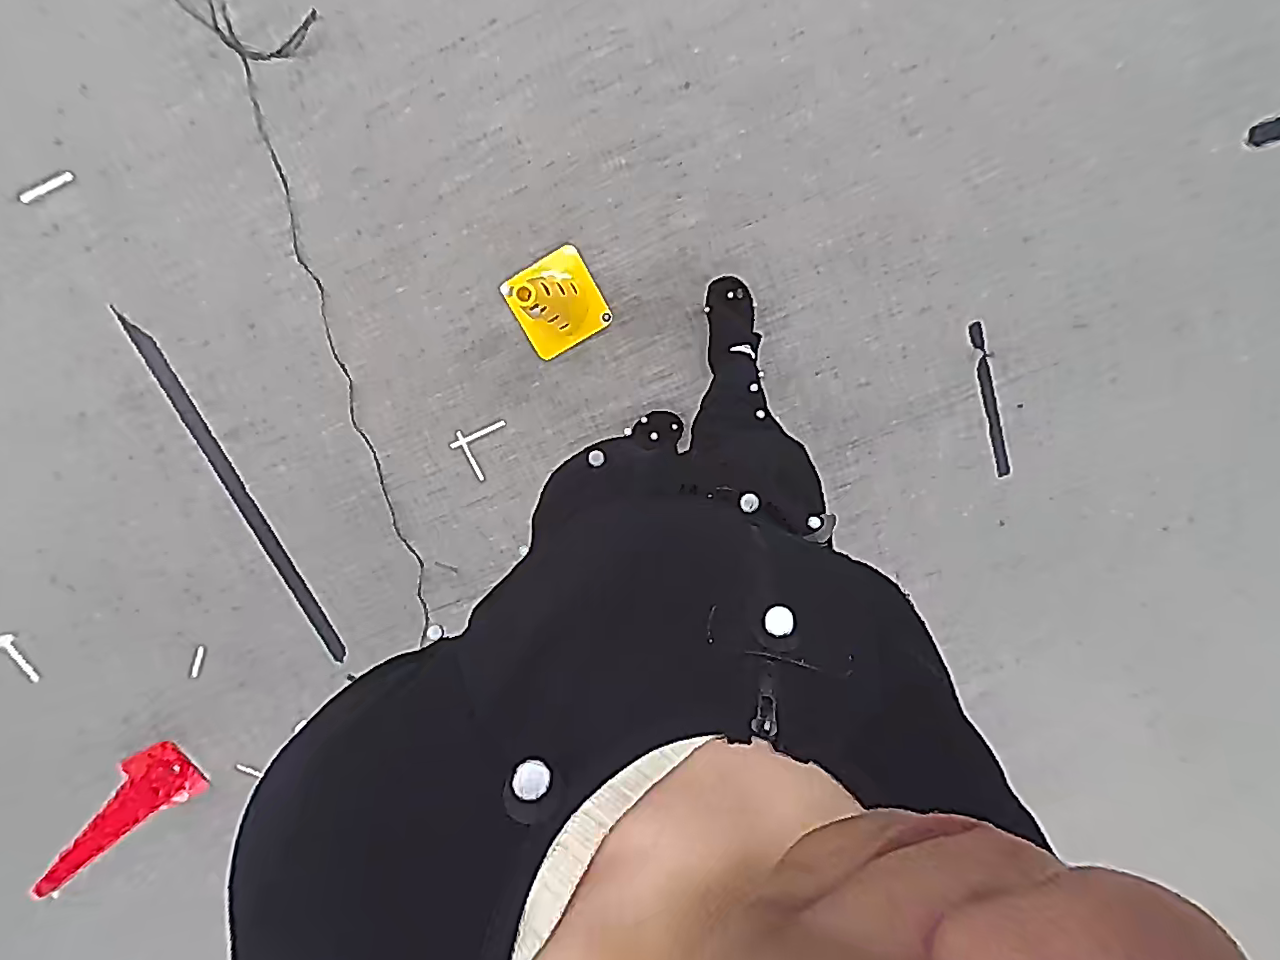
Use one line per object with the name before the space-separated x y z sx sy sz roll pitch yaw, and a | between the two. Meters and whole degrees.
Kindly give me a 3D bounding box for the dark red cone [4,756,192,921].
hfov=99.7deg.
dark red cone | -1.438 0.952 1.426 0.201 0.394 0.202 -29 103 7
